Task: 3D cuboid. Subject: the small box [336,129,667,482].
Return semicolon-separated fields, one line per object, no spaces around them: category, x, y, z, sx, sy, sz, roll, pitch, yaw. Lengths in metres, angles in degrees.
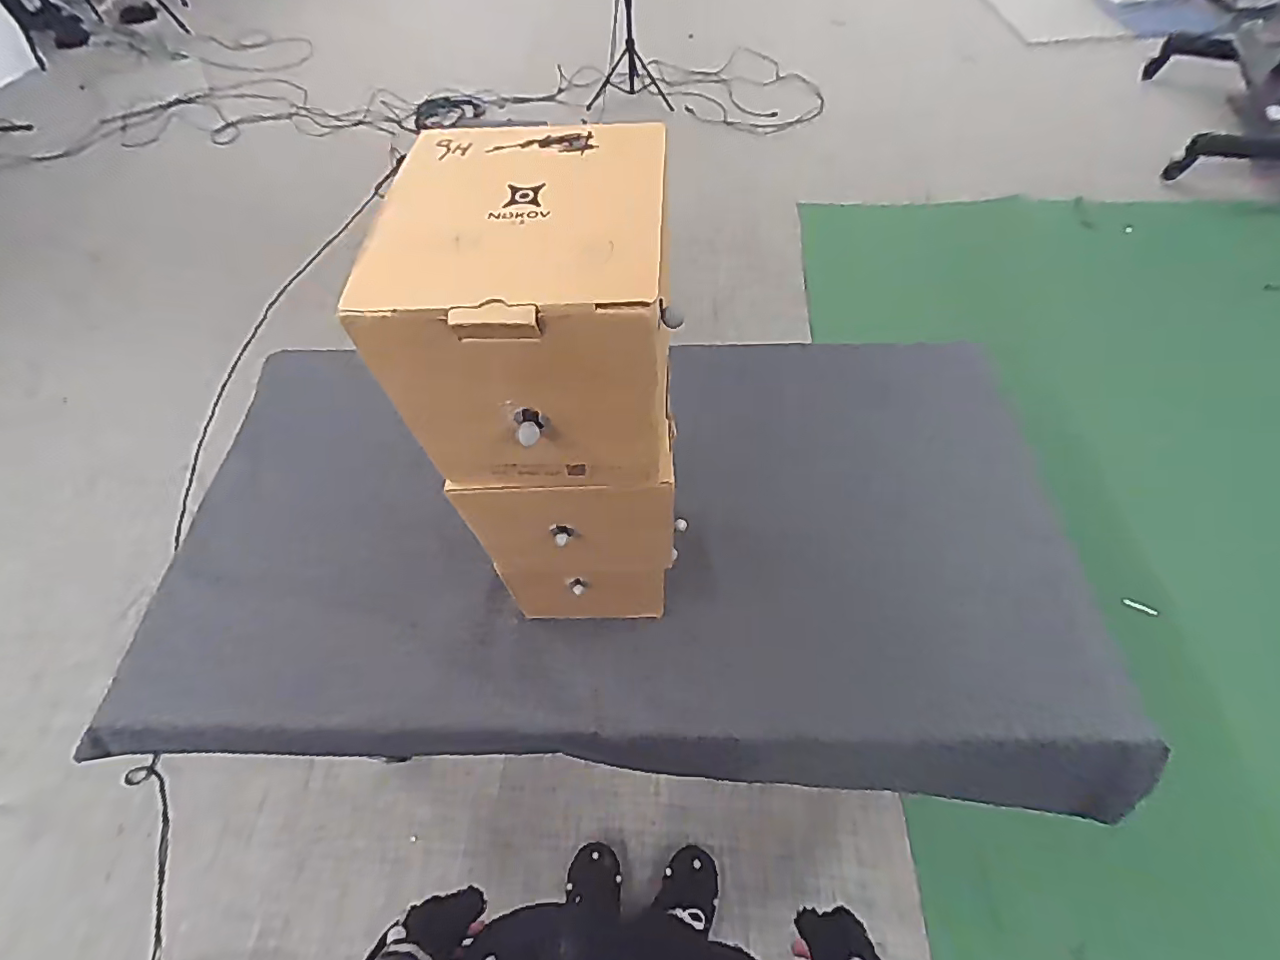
small box;-0.067;-0.111;0.381;0.168;0.176;0.179;1;60;4

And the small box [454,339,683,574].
small box;-0.057;-0.019;0.516;0.179;0.176;0.168;-4;59;0

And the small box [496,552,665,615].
small box;-0.058;0.061;0.659;0.179;0.176;0.168;-1;59;1
